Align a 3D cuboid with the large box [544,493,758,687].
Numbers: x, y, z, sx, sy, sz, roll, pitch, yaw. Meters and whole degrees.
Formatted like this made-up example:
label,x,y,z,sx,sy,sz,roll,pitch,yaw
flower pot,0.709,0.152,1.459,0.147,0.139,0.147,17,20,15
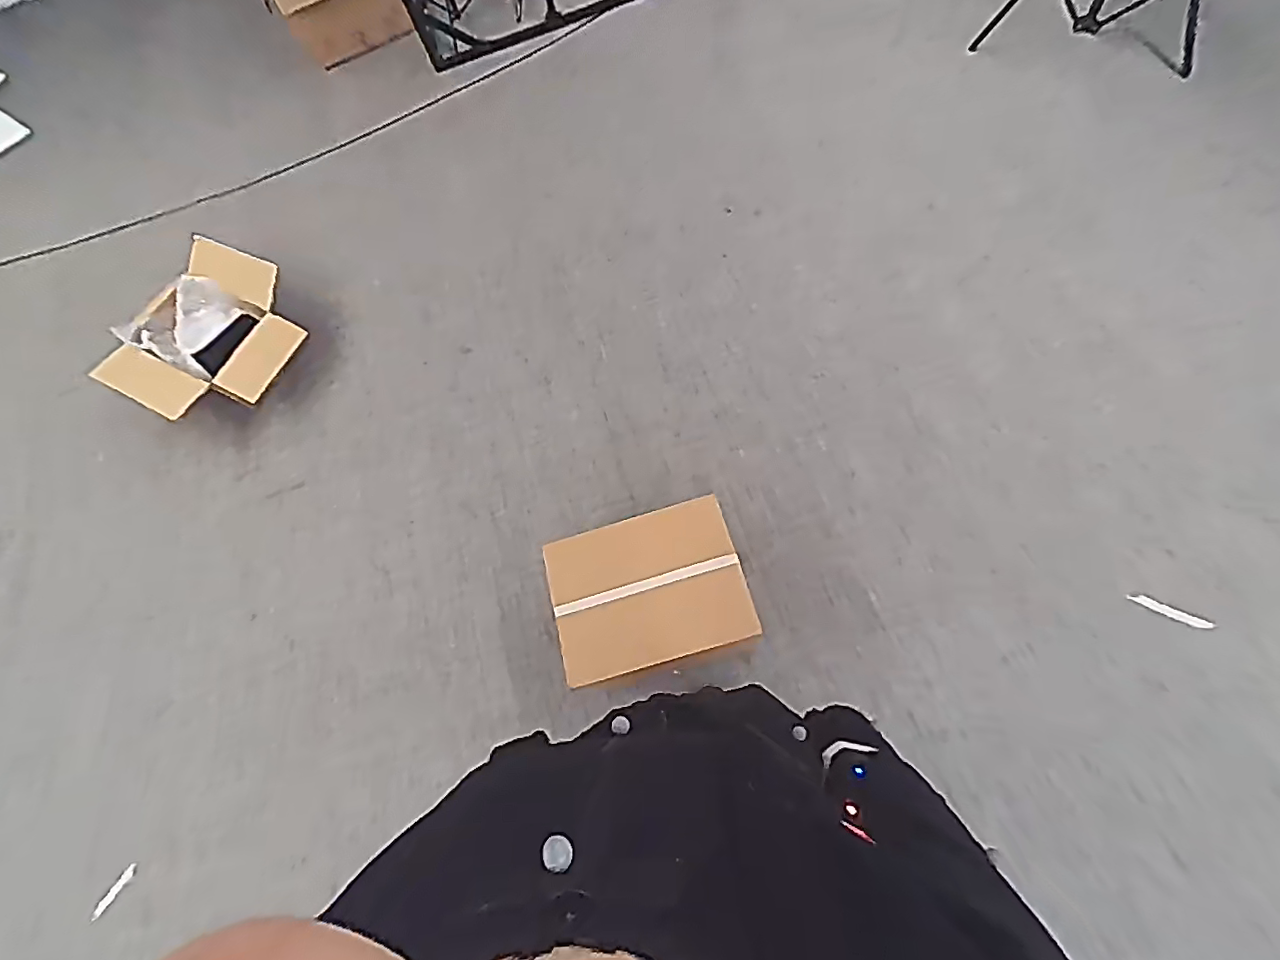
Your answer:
label,x,y,z,sx,sy,sz,roll,pitch,yaw
large box,0.032,0.276,1.281,0.408,0.320,0.320,-17,67,2
